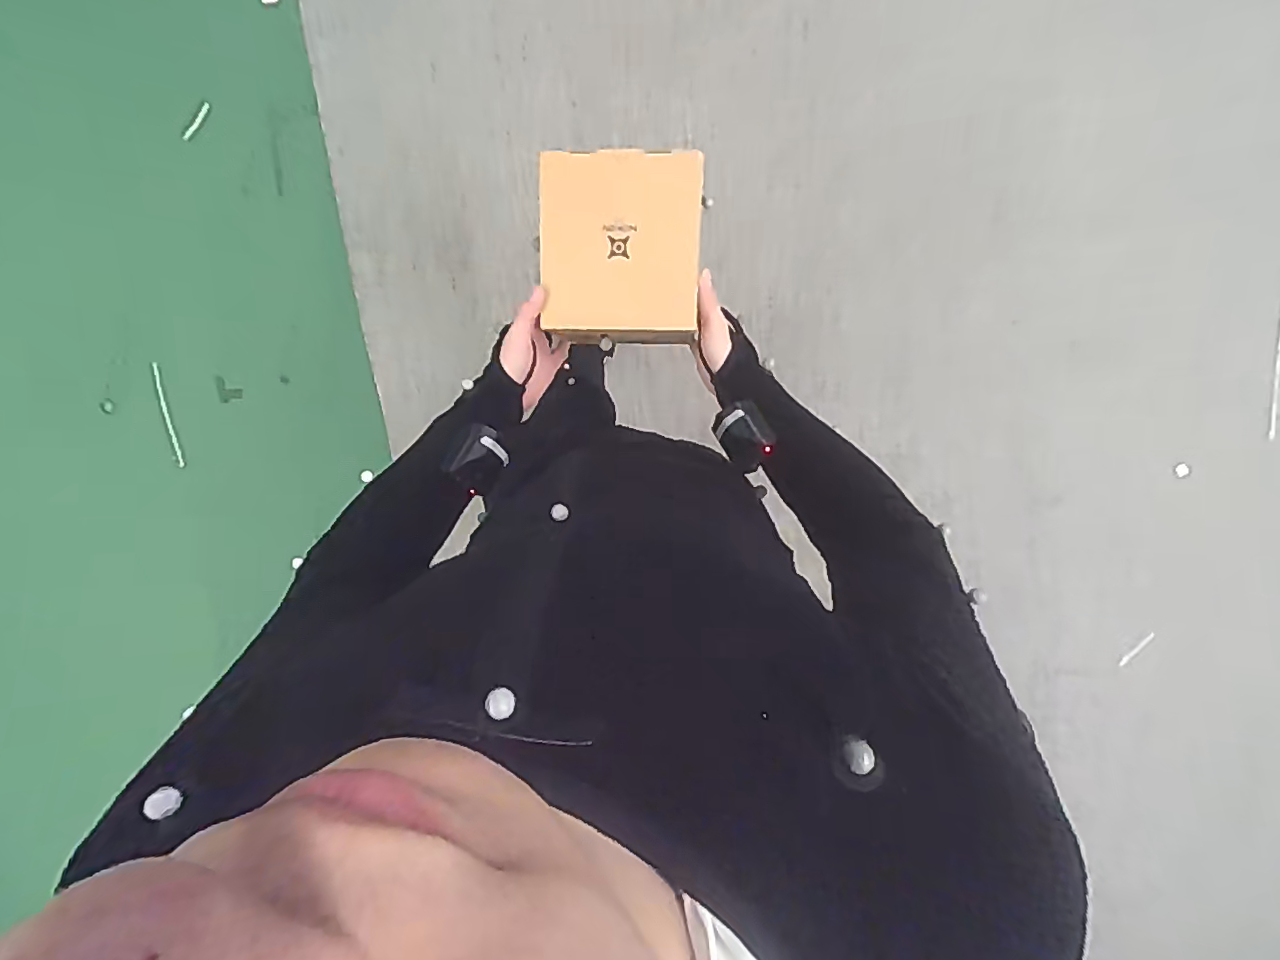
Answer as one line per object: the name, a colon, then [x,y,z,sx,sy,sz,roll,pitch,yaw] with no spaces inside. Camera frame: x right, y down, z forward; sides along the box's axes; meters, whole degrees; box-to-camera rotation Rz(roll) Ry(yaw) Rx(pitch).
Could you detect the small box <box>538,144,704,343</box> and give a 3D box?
small box: [-0.016,-0.253,0.618,0.168,0.176,0.179,2,98,3]
